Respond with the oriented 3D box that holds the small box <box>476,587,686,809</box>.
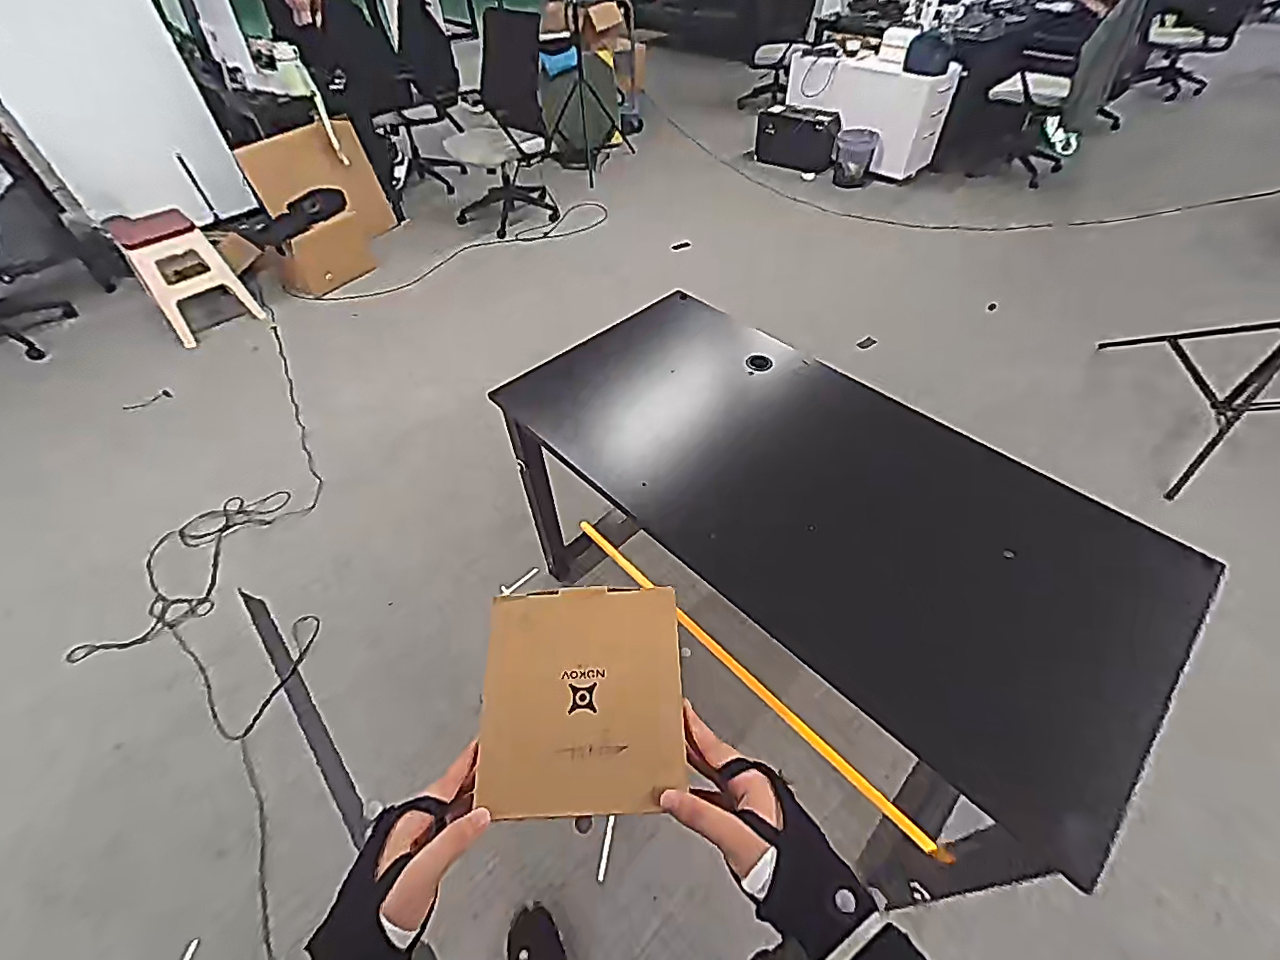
[{"bbox_3d":[-0.047,0.217,0.528,0.168,0.176,0.179,-3,60,0],"label":"small box"}]
